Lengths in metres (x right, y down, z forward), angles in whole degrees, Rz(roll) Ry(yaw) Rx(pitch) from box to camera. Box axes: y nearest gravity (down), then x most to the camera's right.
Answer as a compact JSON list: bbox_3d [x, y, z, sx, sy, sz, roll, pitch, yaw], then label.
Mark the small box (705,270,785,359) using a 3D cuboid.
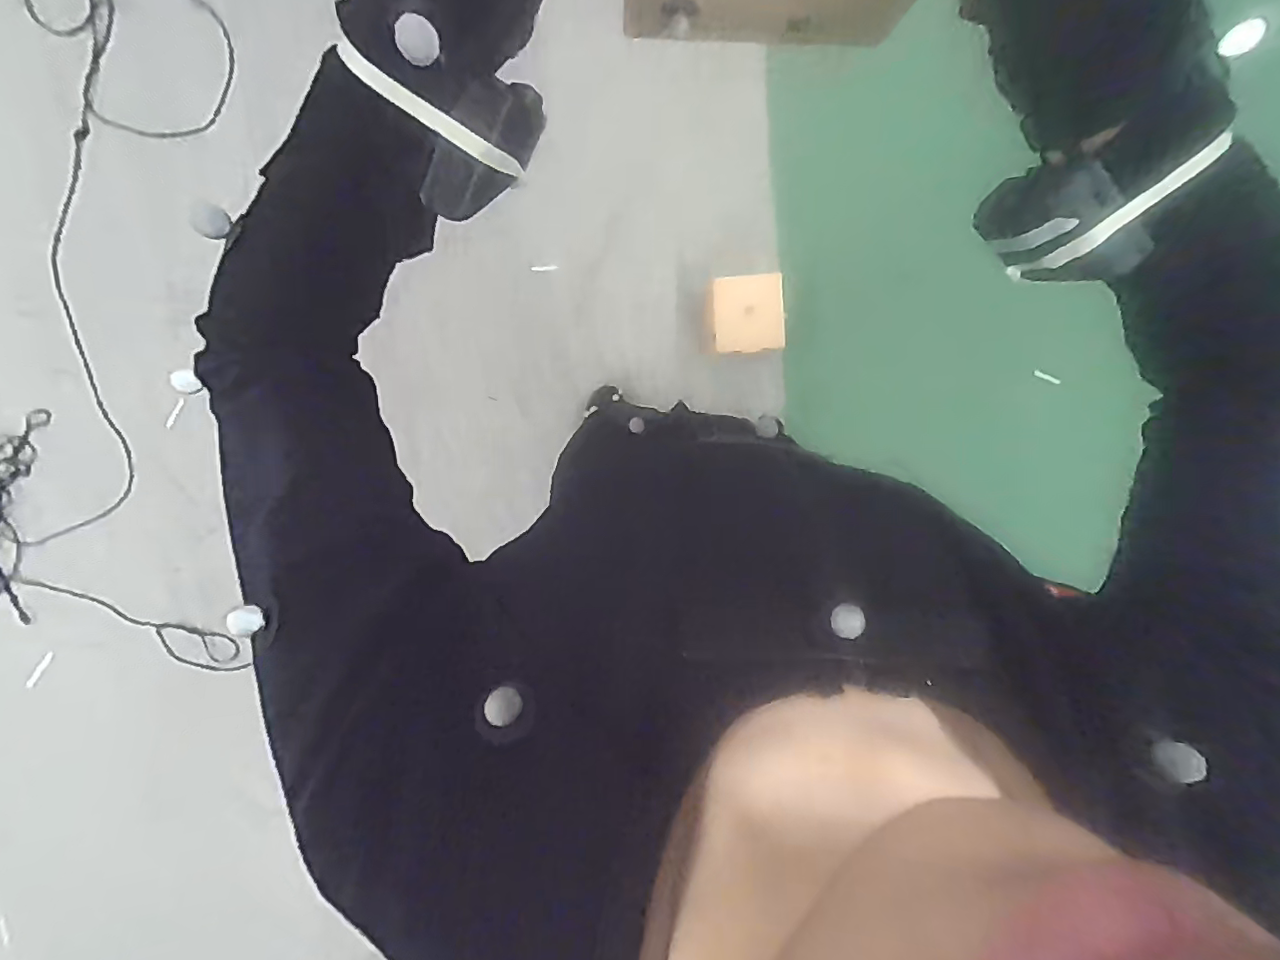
[{"bbox_3d":[0.255,-0.406,1.346,0.168,0.176,0.179,-5,97,2],"label":"small box"}]
